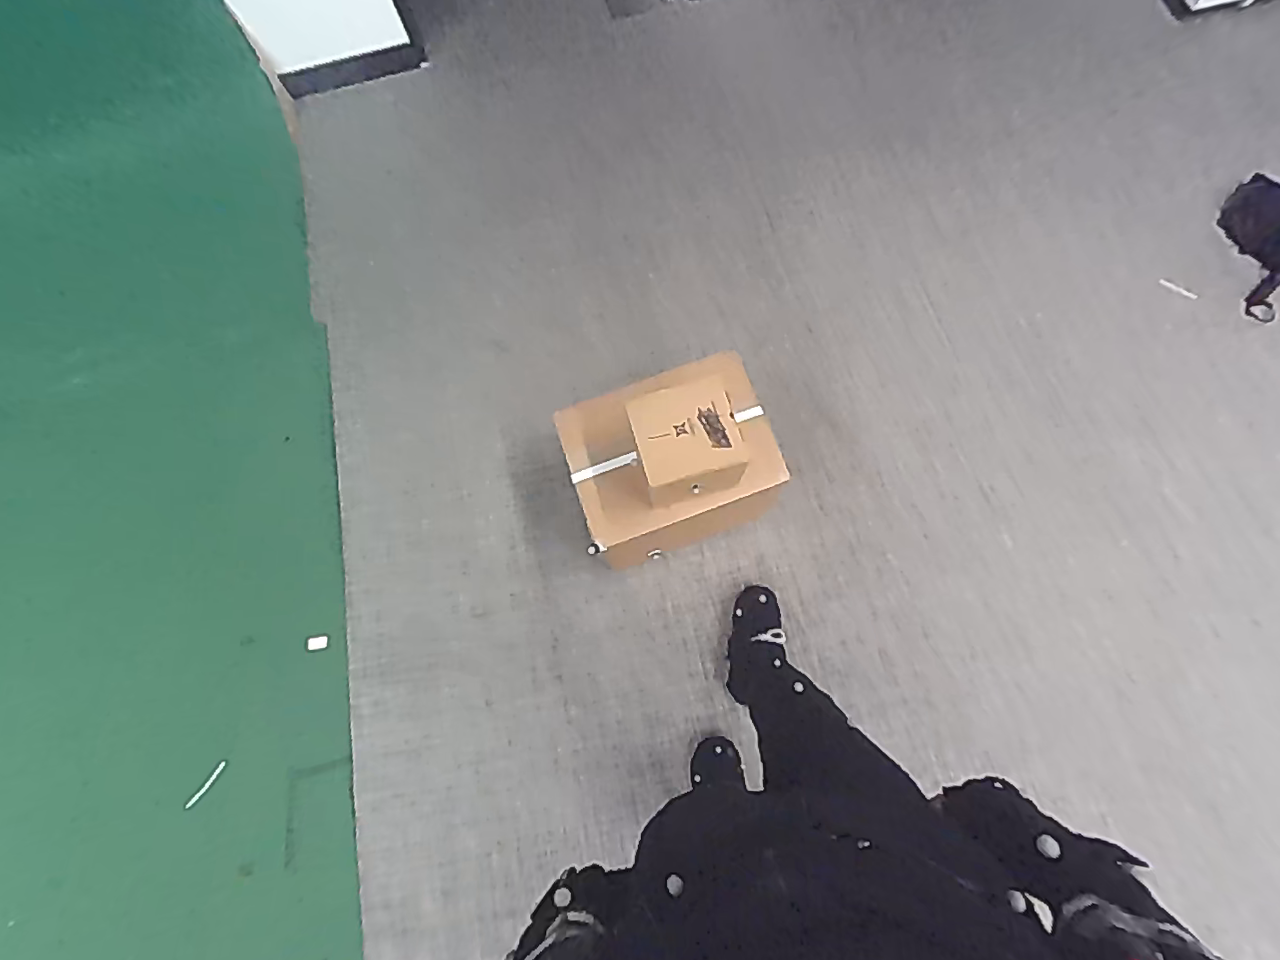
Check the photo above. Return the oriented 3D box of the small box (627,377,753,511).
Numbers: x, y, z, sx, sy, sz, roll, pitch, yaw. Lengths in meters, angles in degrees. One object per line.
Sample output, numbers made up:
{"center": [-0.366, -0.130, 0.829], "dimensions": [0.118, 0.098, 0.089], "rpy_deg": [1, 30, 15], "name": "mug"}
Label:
{"center": [0.084, -0.058, 0.984], "dimensions": [0.179, 0.176, 0.168], "rpy_deg": [-19, 74, -3], "name": "small box"}
